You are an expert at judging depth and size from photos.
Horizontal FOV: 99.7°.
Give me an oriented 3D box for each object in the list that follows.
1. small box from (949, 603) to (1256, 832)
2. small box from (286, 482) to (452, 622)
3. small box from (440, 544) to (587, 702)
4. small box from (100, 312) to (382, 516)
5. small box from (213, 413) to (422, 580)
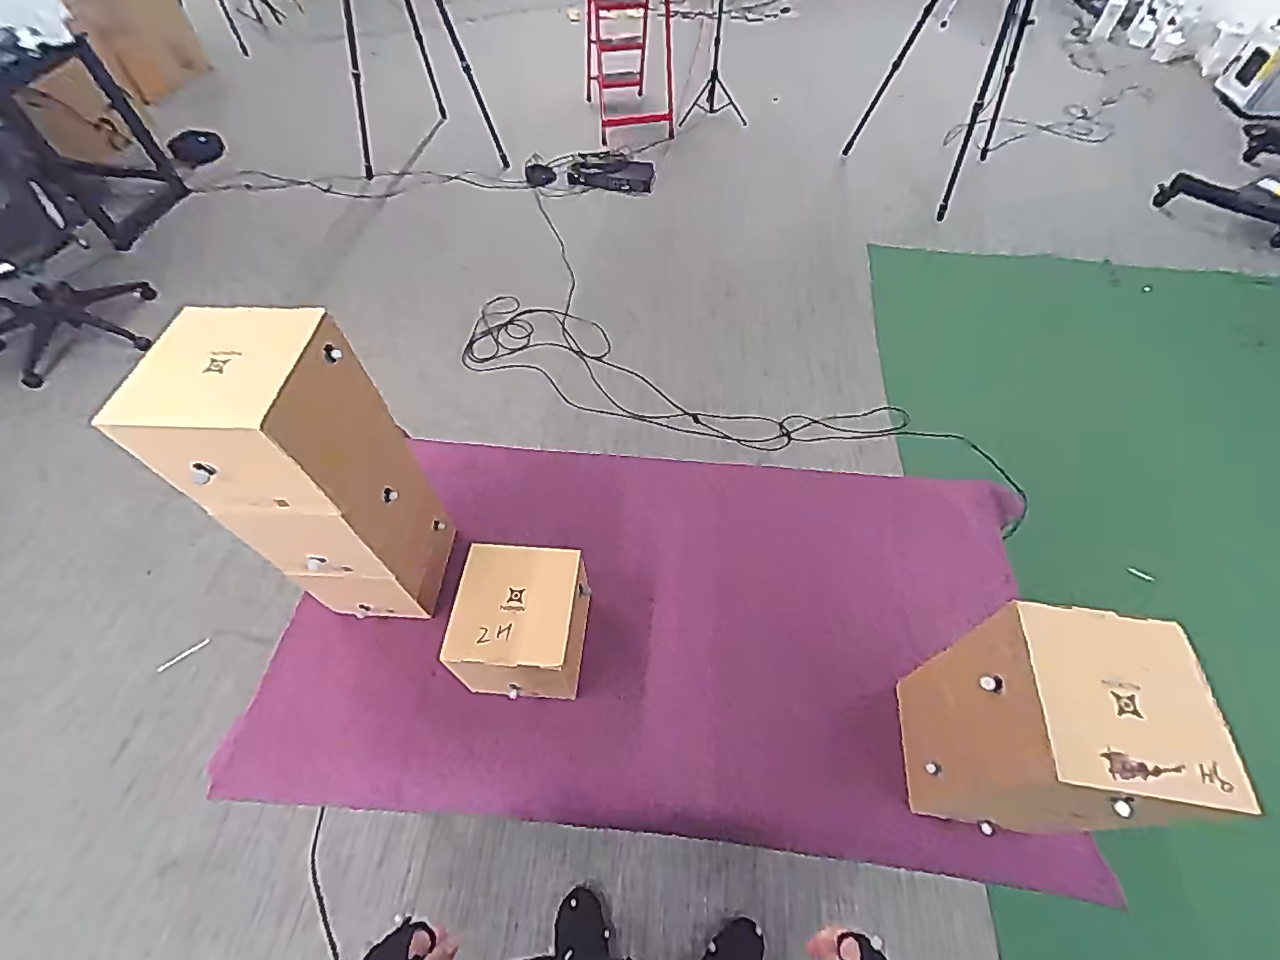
[{"bbox_3d":[0.460,0.257,0.581,0.168,0.176,0.179,7,54,7],"label":"small box"},{"bbox_3d":[-0.426,0.116,0.889,0.168,0.176,0.179,3,56,3],"label":"small box"},{"bbox_3d":[-0.175,0.218,0.816,0.168,0.176,0.179,4,55,3],"label":"small box"},{"bbox_3d":[-0.428,-0.071,0.622,0.168,0.176,0.179,1,55,3],"label":"small box"},{"bbox_3d":[-0.426,0.022,0.756,0.168,0.176,0.179,2,56,3],"label":"small box"}]
